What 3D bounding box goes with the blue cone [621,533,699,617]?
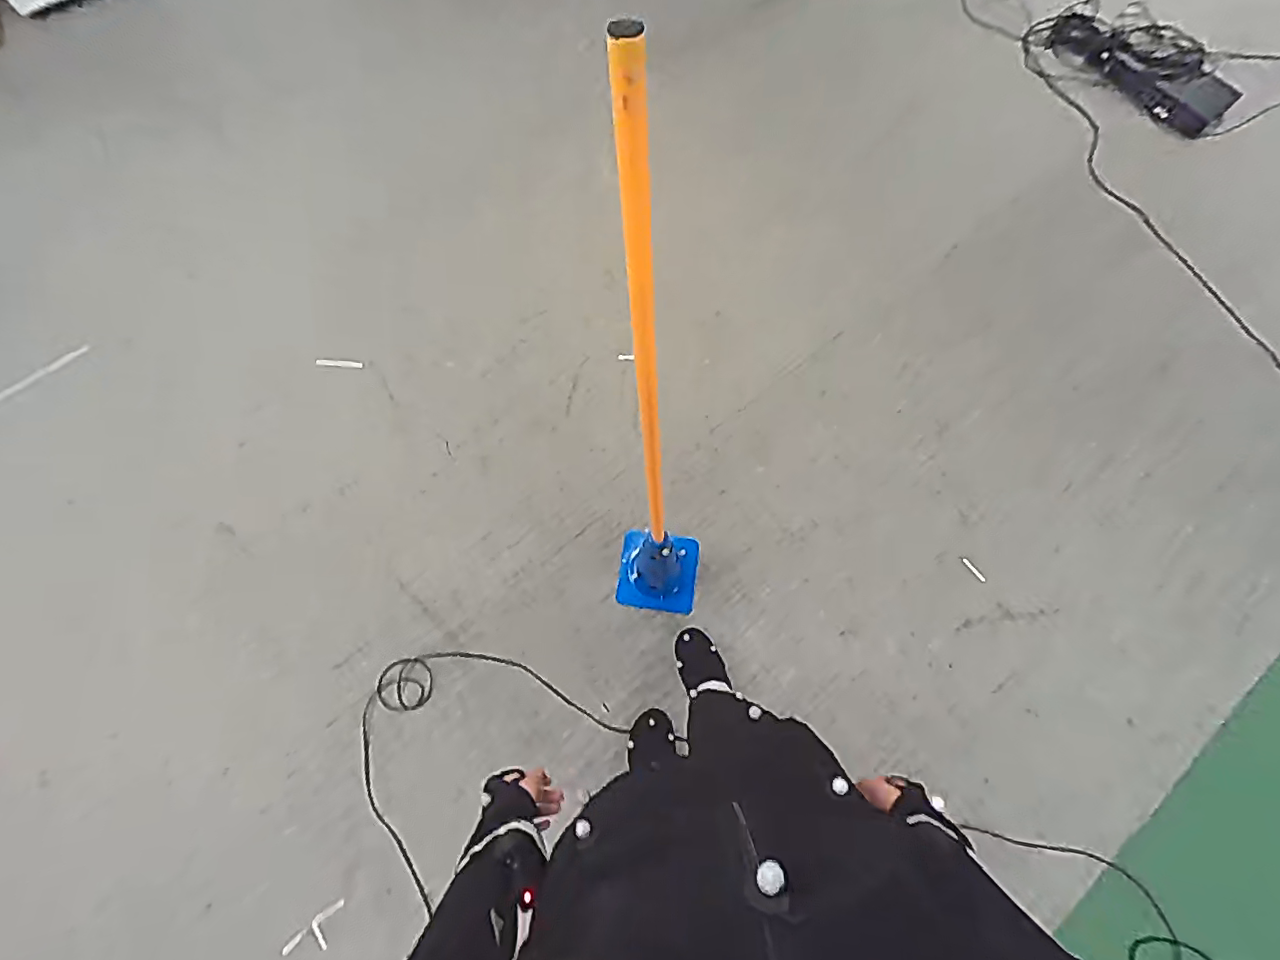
[{"bbox_3d":[0.046,0.187,1.220,0.192,0.380,0.193,6,69,4],"label":"blue cone"}]
